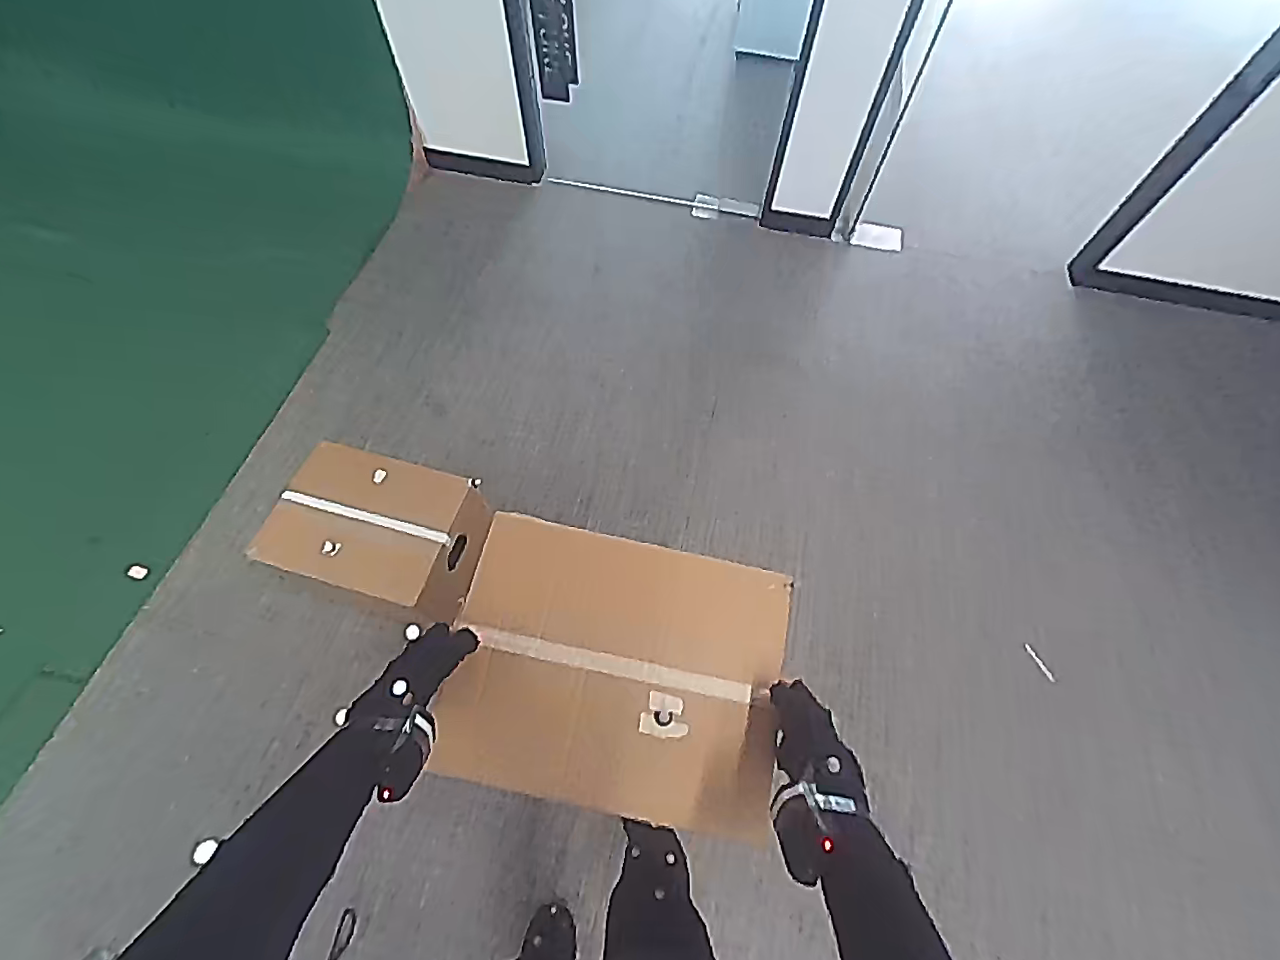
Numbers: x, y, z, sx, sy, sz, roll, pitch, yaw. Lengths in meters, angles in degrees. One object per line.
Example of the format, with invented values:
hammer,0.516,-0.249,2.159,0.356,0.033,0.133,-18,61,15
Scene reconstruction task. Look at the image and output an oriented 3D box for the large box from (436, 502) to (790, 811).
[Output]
large box,-0.031,0.259,0.821,0.408,0.320,0.320,13,70,0
